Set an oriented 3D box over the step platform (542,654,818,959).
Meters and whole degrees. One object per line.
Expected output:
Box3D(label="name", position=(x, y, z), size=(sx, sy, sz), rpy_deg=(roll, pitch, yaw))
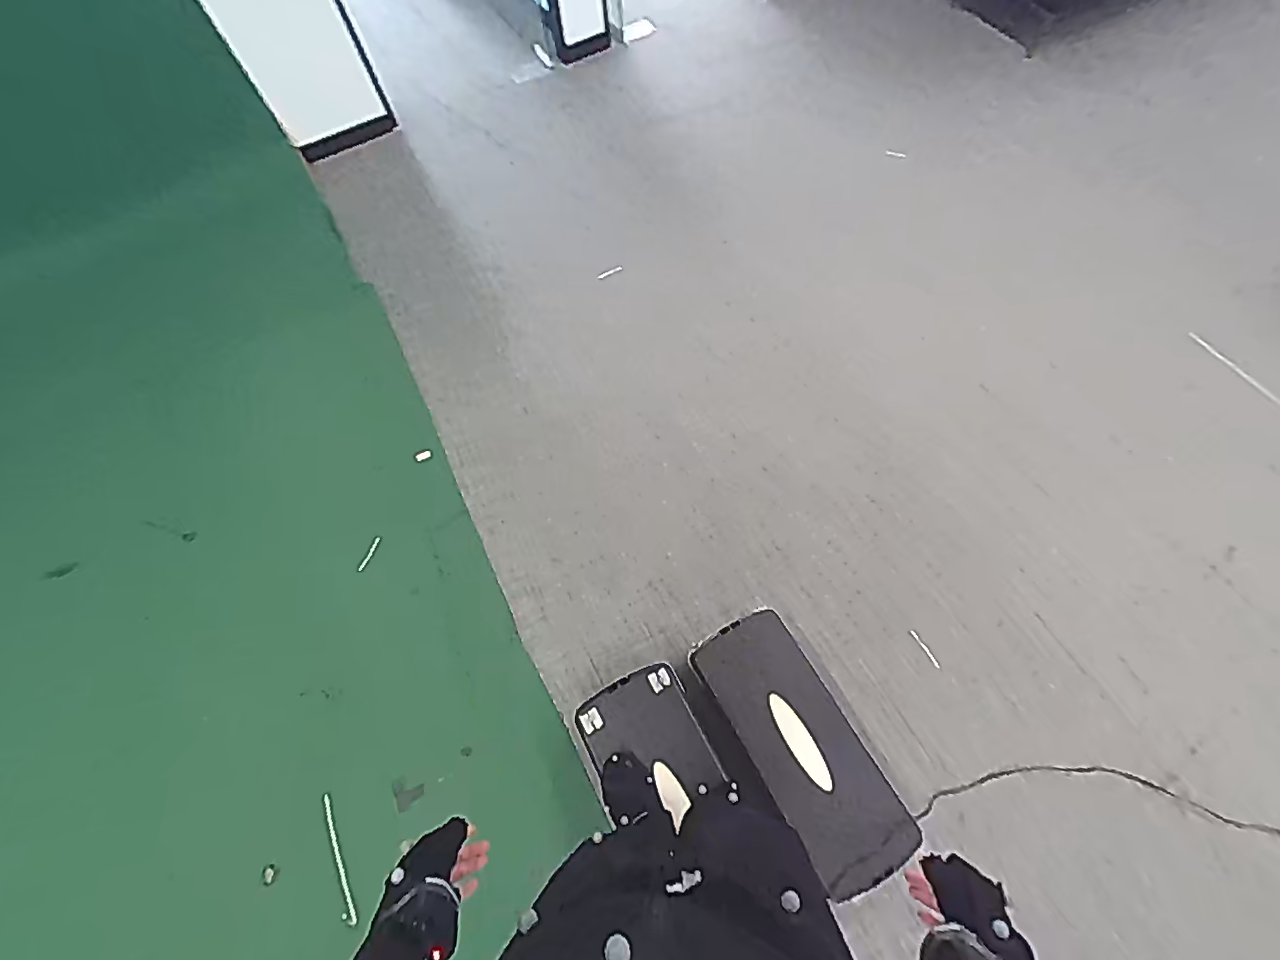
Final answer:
Box3D(label="step platform", position=(0.060, 0.728, 1.123), size=(0.286, 0.204, 0.684), rpy_deg=(-27, 68, -10))
